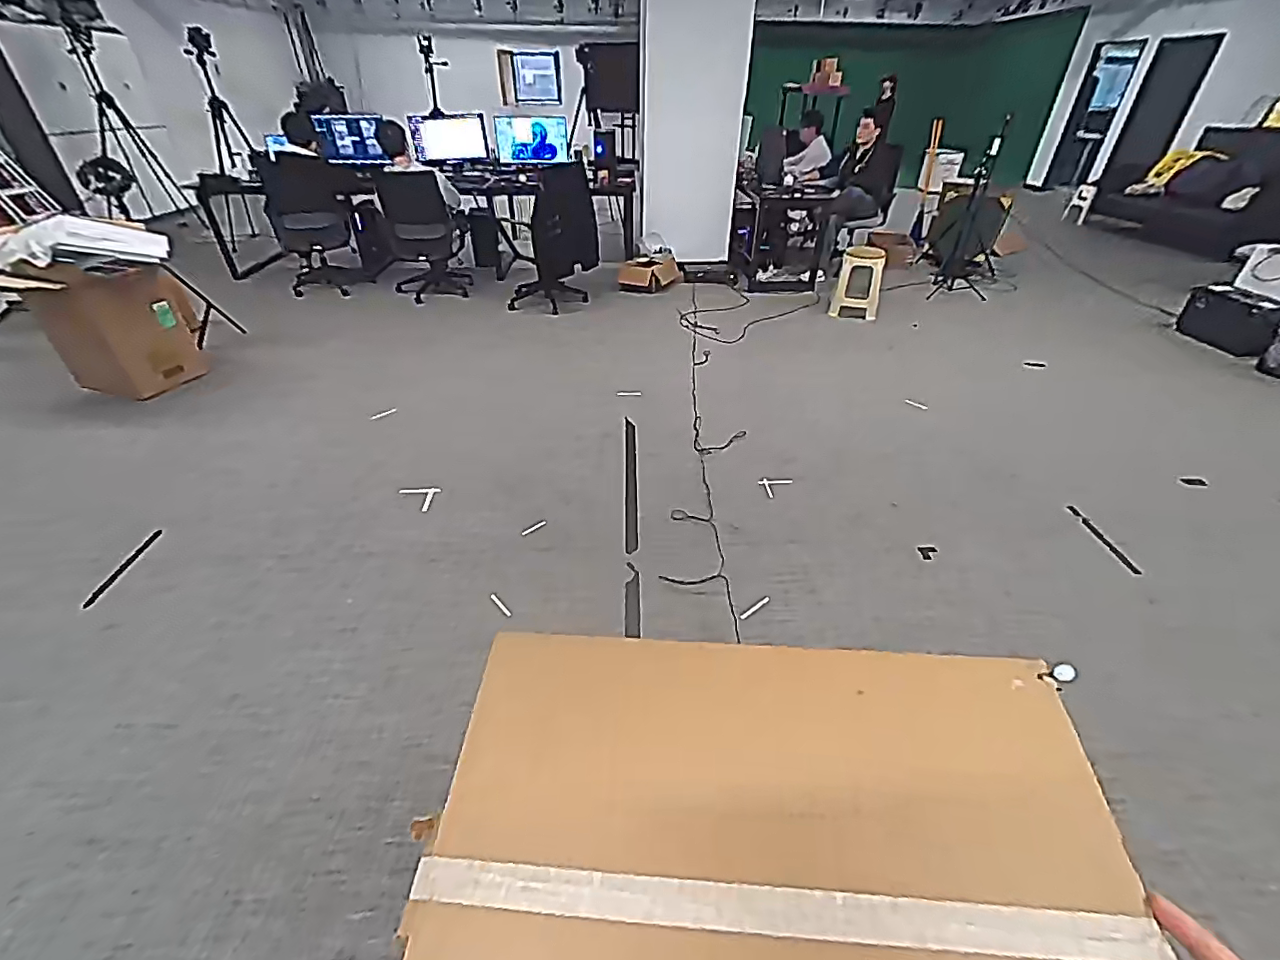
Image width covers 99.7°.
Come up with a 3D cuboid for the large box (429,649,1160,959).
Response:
[{"bbox_3d":[0.086,0.349,0.417,0.408,0.320,0.320,1,48,4],"label":"large box"}]
